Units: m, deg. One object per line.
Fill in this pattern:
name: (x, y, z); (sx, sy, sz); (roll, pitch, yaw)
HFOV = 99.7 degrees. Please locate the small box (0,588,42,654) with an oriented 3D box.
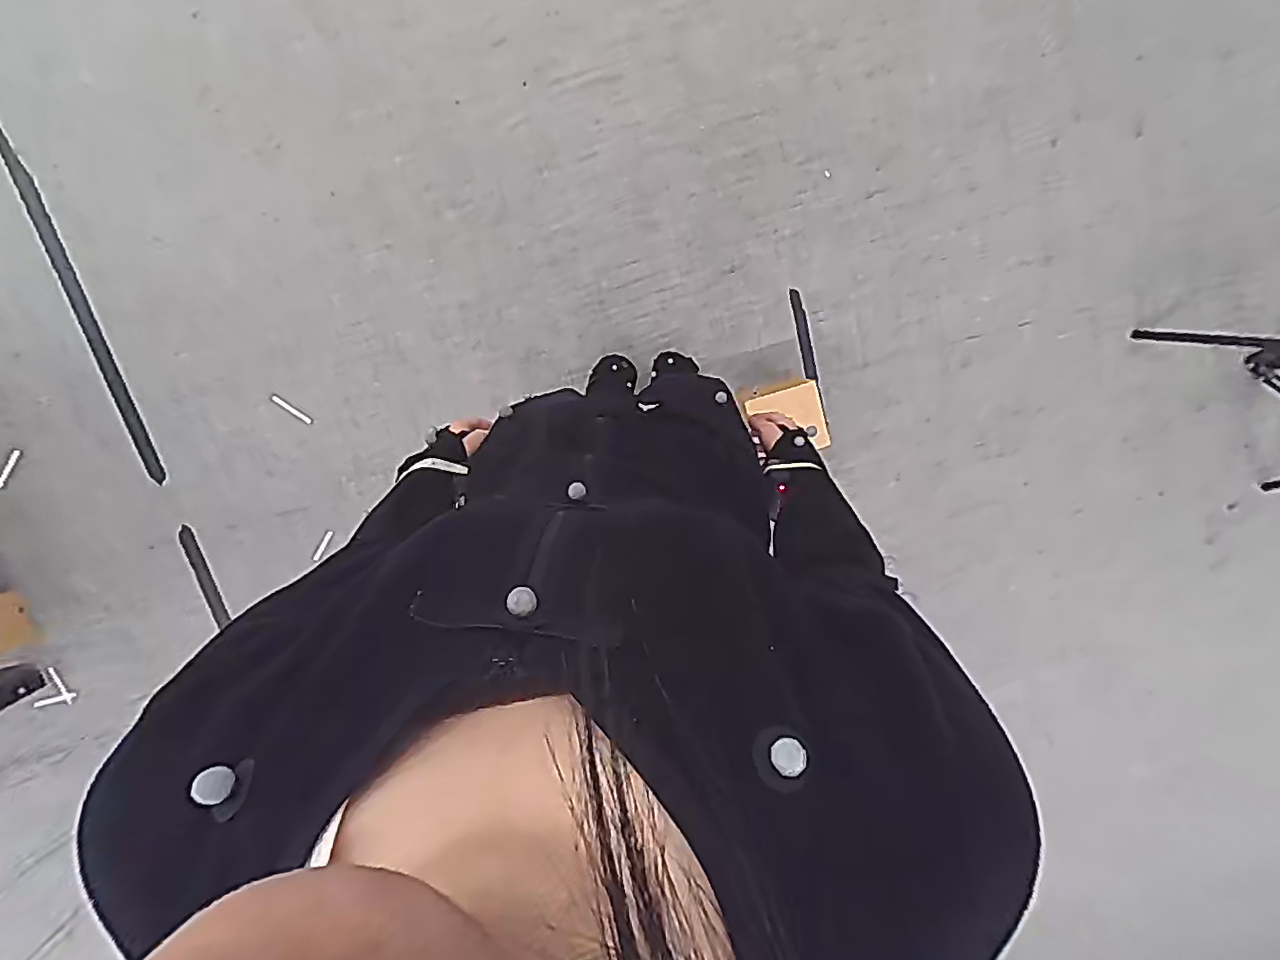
small box: (-1.928, 0.434, 1.569); (0.179, 0.176, 0.168); (-12, 103, 5)
